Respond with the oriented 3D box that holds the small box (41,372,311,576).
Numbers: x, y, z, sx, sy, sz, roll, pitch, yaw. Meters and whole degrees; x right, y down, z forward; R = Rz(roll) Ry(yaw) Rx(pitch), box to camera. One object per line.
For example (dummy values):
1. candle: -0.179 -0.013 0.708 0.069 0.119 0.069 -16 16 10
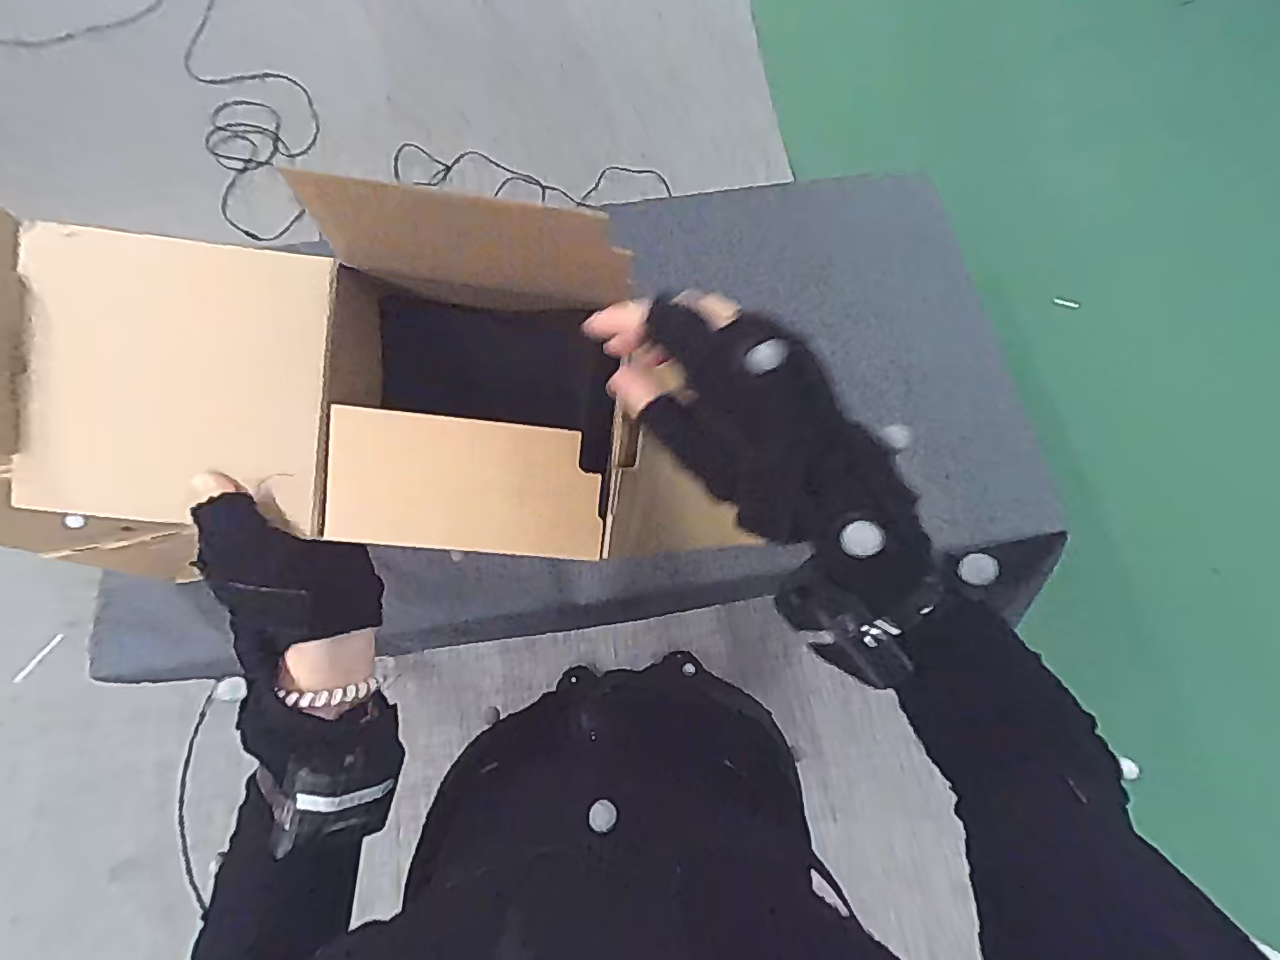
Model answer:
1. small box: -0.509 0.002 0.625 0.168 0.176 0.179 -10 73 -3
